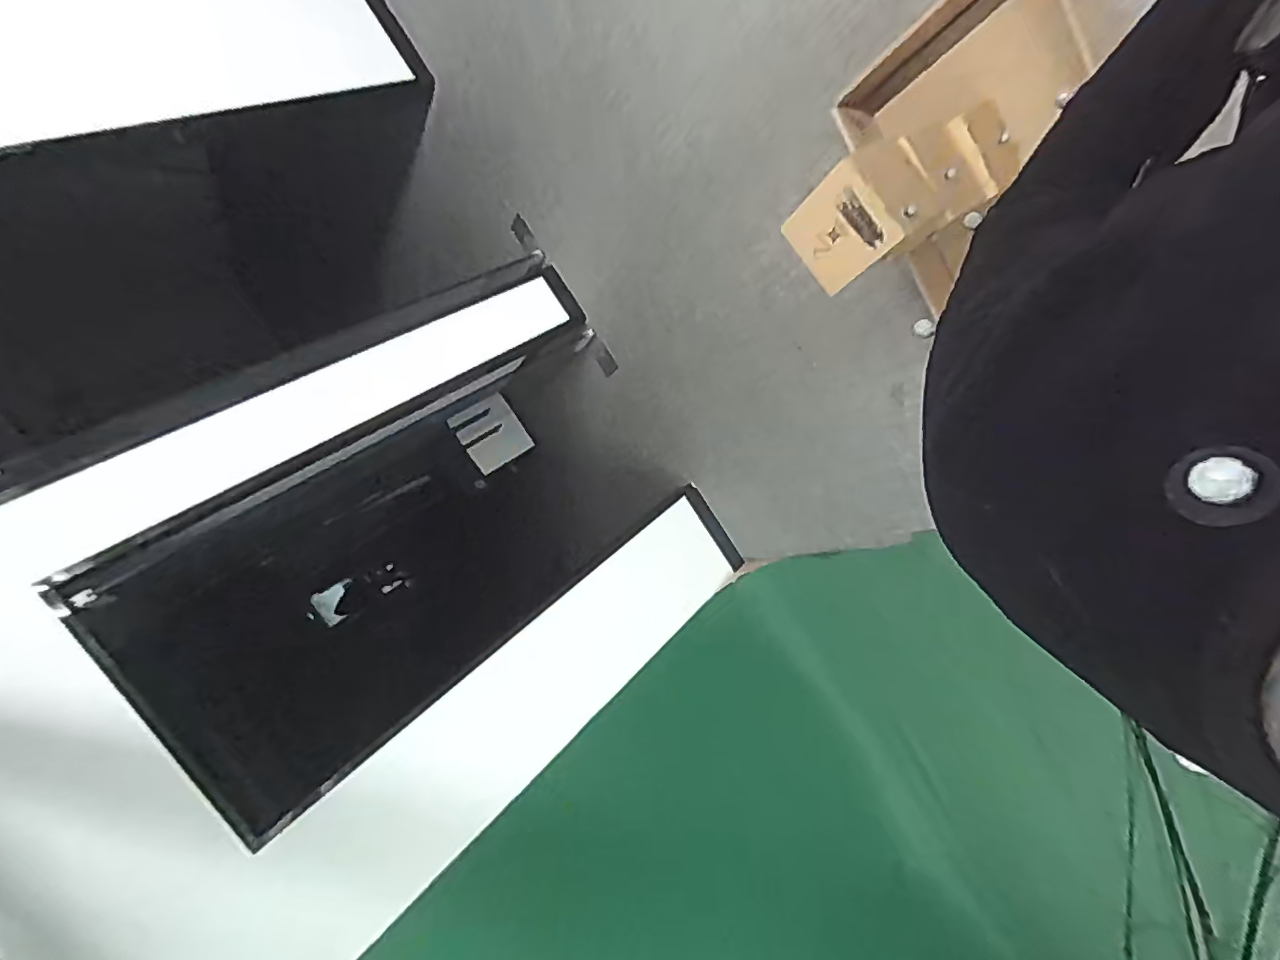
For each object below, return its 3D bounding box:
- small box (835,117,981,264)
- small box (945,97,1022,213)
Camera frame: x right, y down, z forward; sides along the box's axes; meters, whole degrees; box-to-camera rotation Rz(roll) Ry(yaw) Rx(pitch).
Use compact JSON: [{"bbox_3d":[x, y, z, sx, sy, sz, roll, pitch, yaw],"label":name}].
[{"bbox_3d":[0.531,-0.570,1.066,0.179,0.176,0.168,54,150,-6],"label":"small box"},{"bbox_3d":[0.654,-0.655,1.134,0.168,0.176,0.179,56,149,-10],"label":"small box"}]
